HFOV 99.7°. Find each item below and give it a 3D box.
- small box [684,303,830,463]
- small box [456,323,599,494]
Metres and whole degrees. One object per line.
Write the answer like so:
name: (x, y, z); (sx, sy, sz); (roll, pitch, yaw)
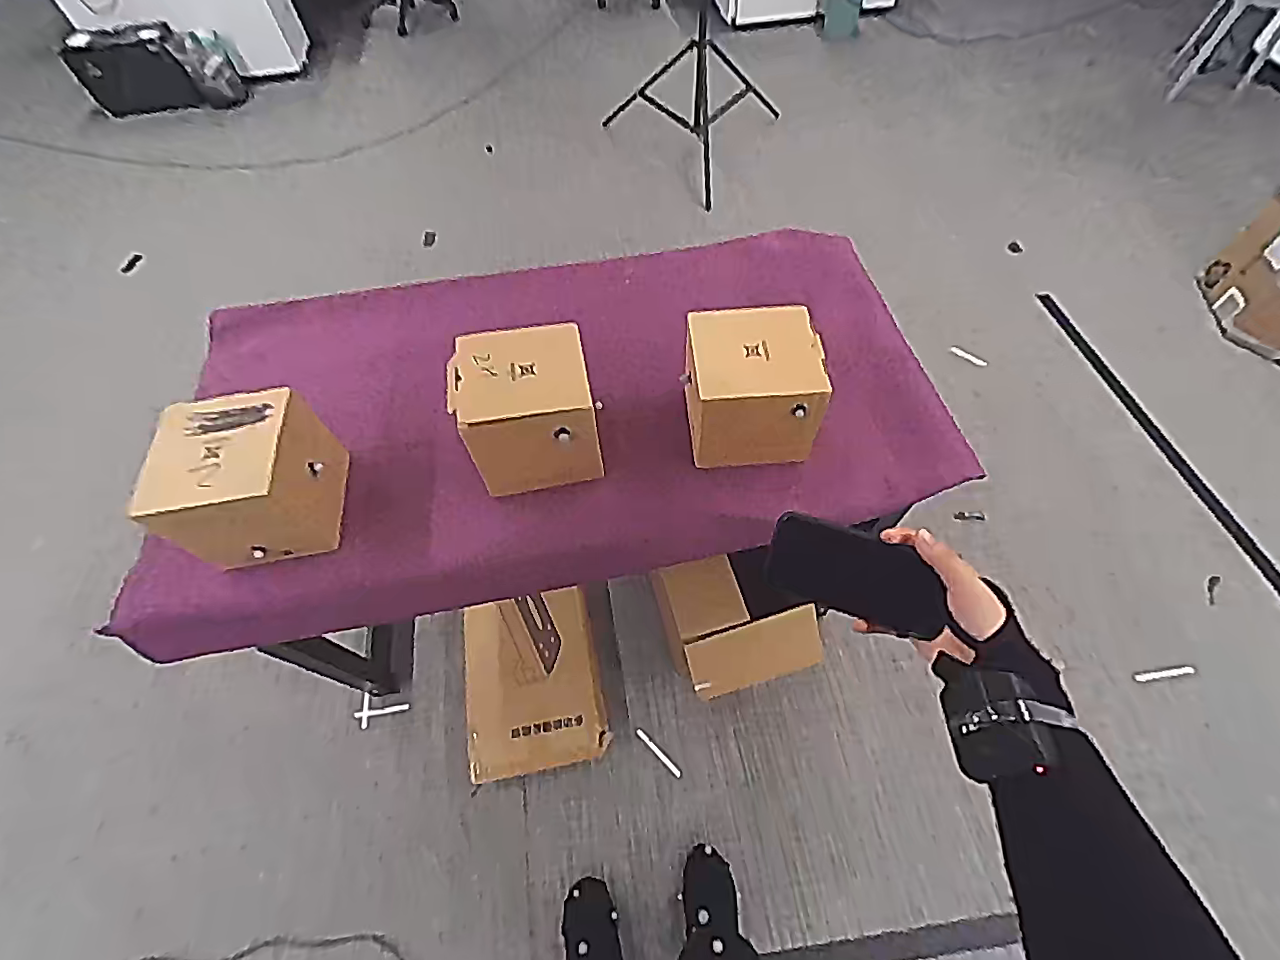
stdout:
small box: (0.159, -0.137, 0.805); (0.179, 0.176, 0.168); (-4, 58, -1)
small box: (-0.158, -0.100, 0.795); (0.179, 0.176, 0.168); (-11, 56, -4)
